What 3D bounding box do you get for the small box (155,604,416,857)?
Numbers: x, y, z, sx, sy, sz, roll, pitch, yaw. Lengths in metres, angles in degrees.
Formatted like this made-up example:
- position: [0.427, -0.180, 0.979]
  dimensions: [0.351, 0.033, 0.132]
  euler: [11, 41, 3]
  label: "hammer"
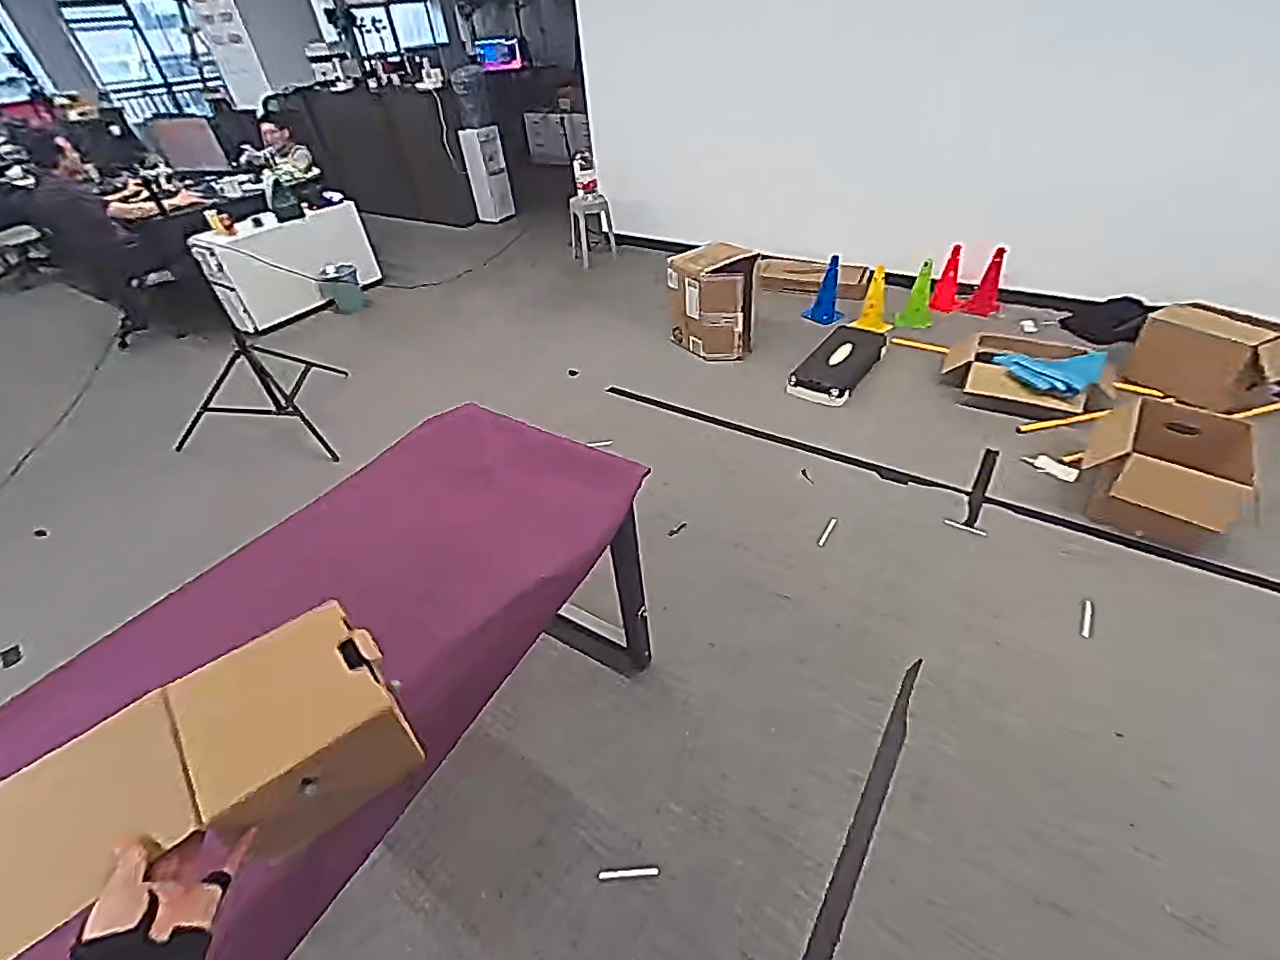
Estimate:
- position: [-0.390, 0.286, 0.620]
  dimensions: [0.179, 0.176, 0.168]
  euler: [-32, 55, -30]
  label: "small box"
